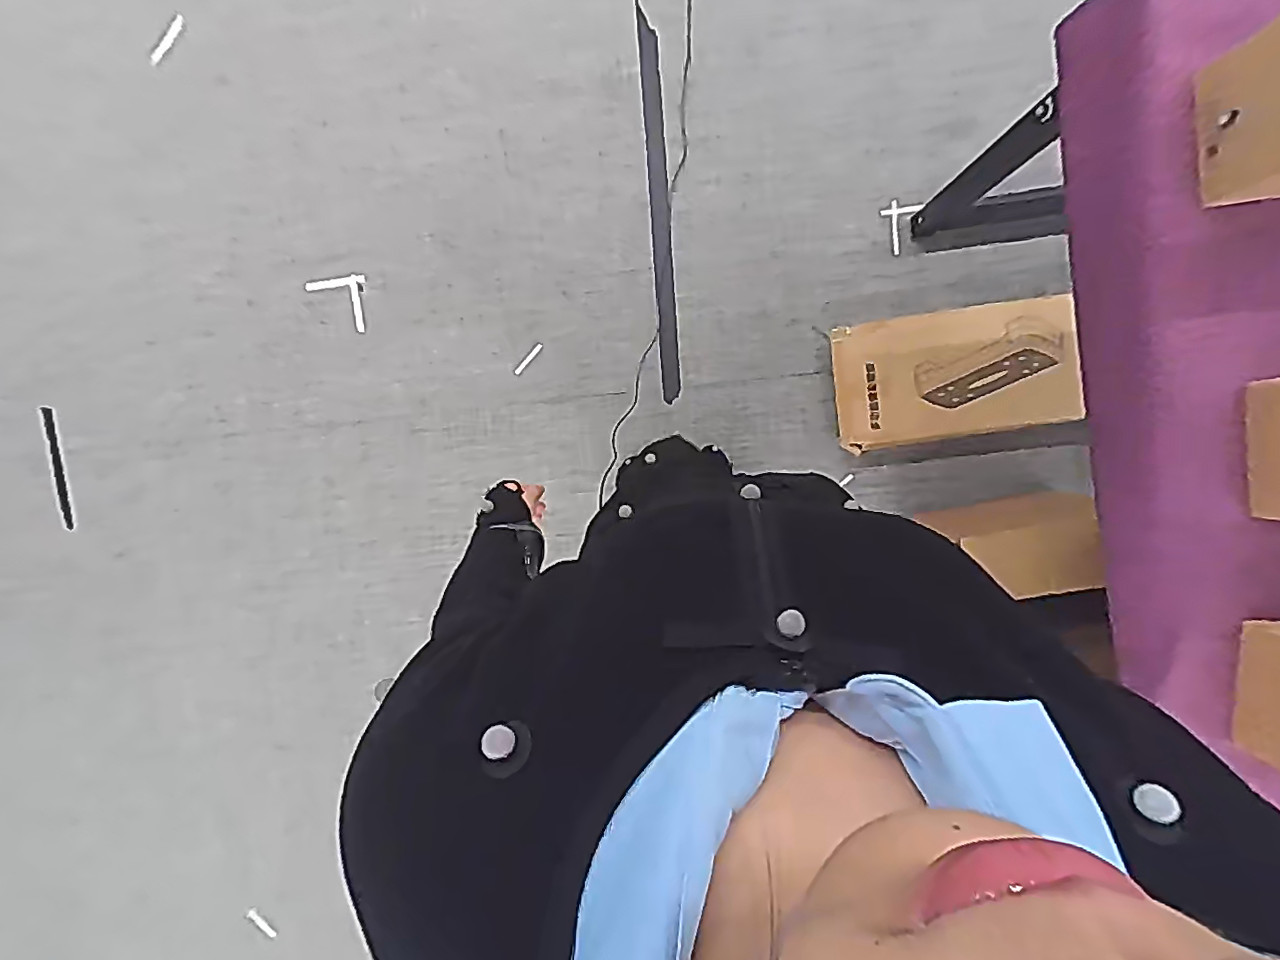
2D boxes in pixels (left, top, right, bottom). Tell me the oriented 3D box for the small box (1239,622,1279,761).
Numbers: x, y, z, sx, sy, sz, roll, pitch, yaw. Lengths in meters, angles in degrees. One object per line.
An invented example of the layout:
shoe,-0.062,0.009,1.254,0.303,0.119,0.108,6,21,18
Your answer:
small box,0.877,0.276,0.635,0.168,0.176,0.179,0,95,4

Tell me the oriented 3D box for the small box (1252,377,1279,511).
small box,0.860,-0.041,0.608,0.168,0.176,0.179,-7,94,2
